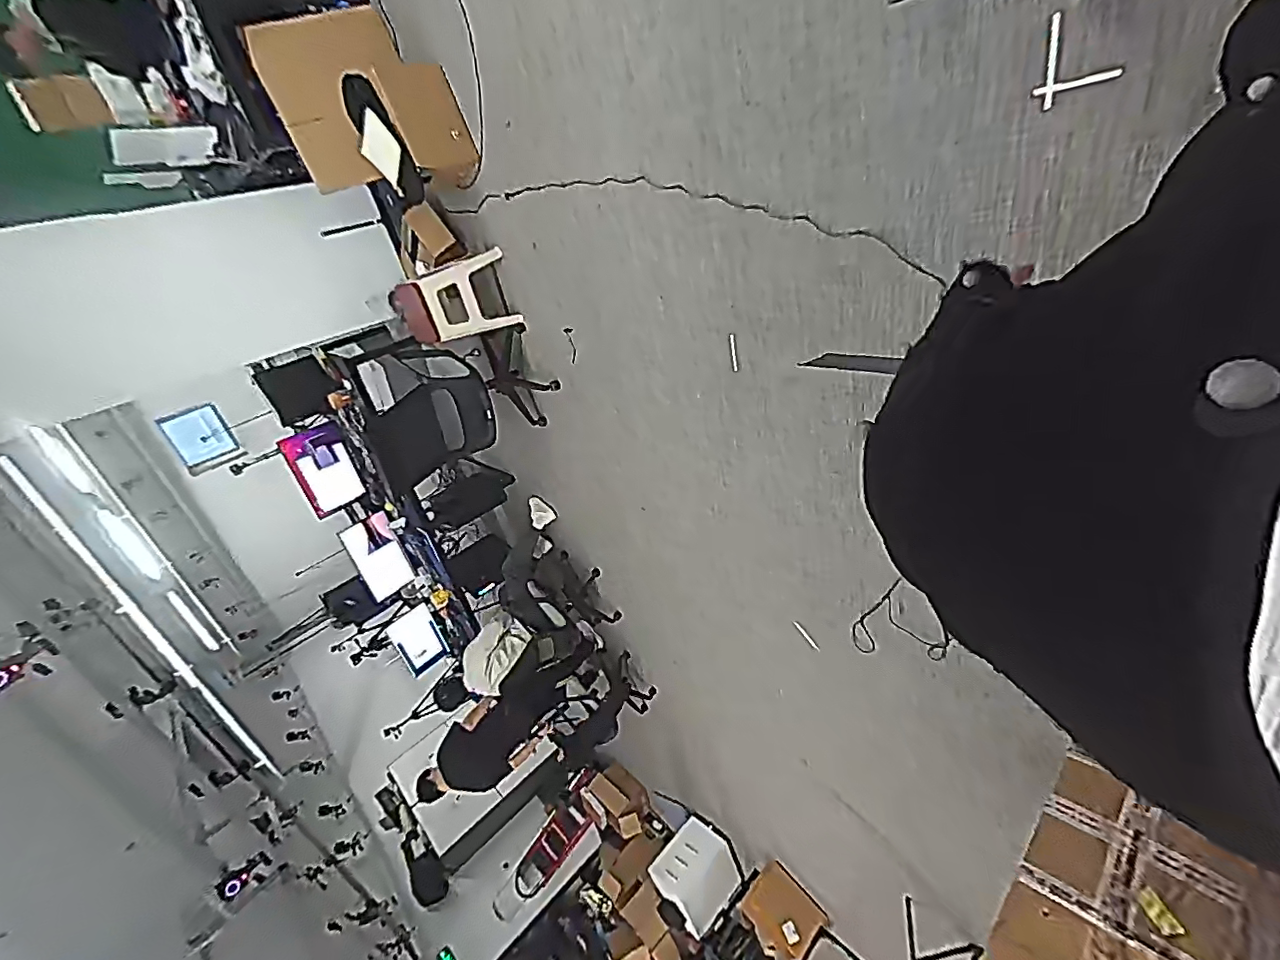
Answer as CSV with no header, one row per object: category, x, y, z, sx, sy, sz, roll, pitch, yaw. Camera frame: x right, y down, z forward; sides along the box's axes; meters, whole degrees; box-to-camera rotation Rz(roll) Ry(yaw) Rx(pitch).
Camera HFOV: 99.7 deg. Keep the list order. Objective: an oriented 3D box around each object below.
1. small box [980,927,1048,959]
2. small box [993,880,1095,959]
small box,0.944,1.275,1.334,0.179,0.176,0.168,10,122,50
small box,1.065,1.212,1.428,0.179,0.176,0.168,10,122,50
